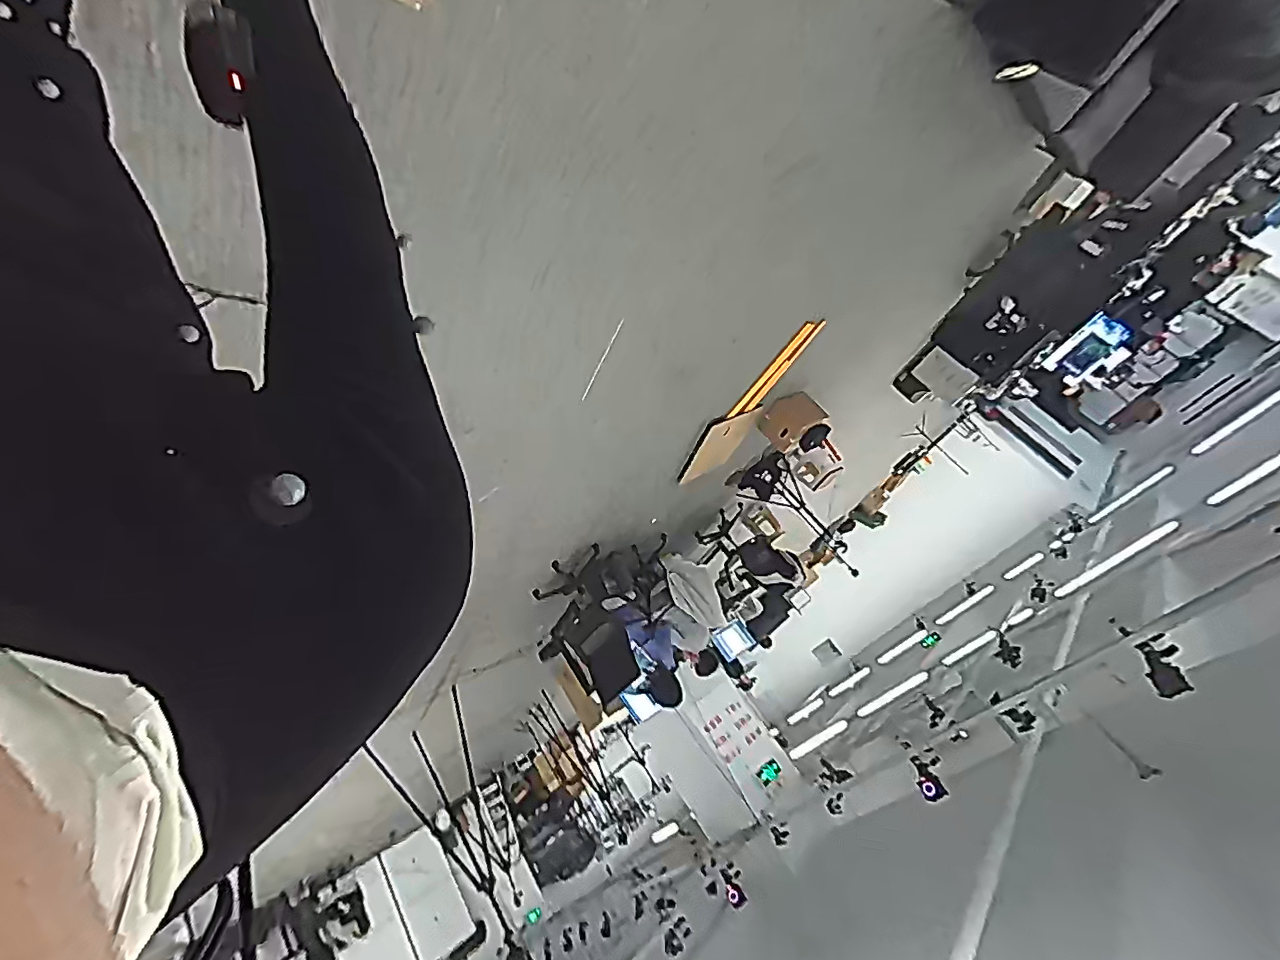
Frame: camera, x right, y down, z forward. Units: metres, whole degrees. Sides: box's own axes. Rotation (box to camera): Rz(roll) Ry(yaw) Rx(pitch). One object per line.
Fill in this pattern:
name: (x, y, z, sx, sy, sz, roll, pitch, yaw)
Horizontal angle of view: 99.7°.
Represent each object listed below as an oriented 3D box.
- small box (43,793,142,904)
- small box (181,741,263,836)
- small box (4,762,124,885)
small box: (-1.467, 0.977, 1.444, 0.168, 0.176, 0.179, -16, 147, -45)
small box: (-1.272, 0.931, 1.647, 0.168, 0.176, 0.179, -14, 148, -45)
small box: (-1.356, 0.803, 1.279, 0.168, 0.176, 0.179, -14, 148, -45)
